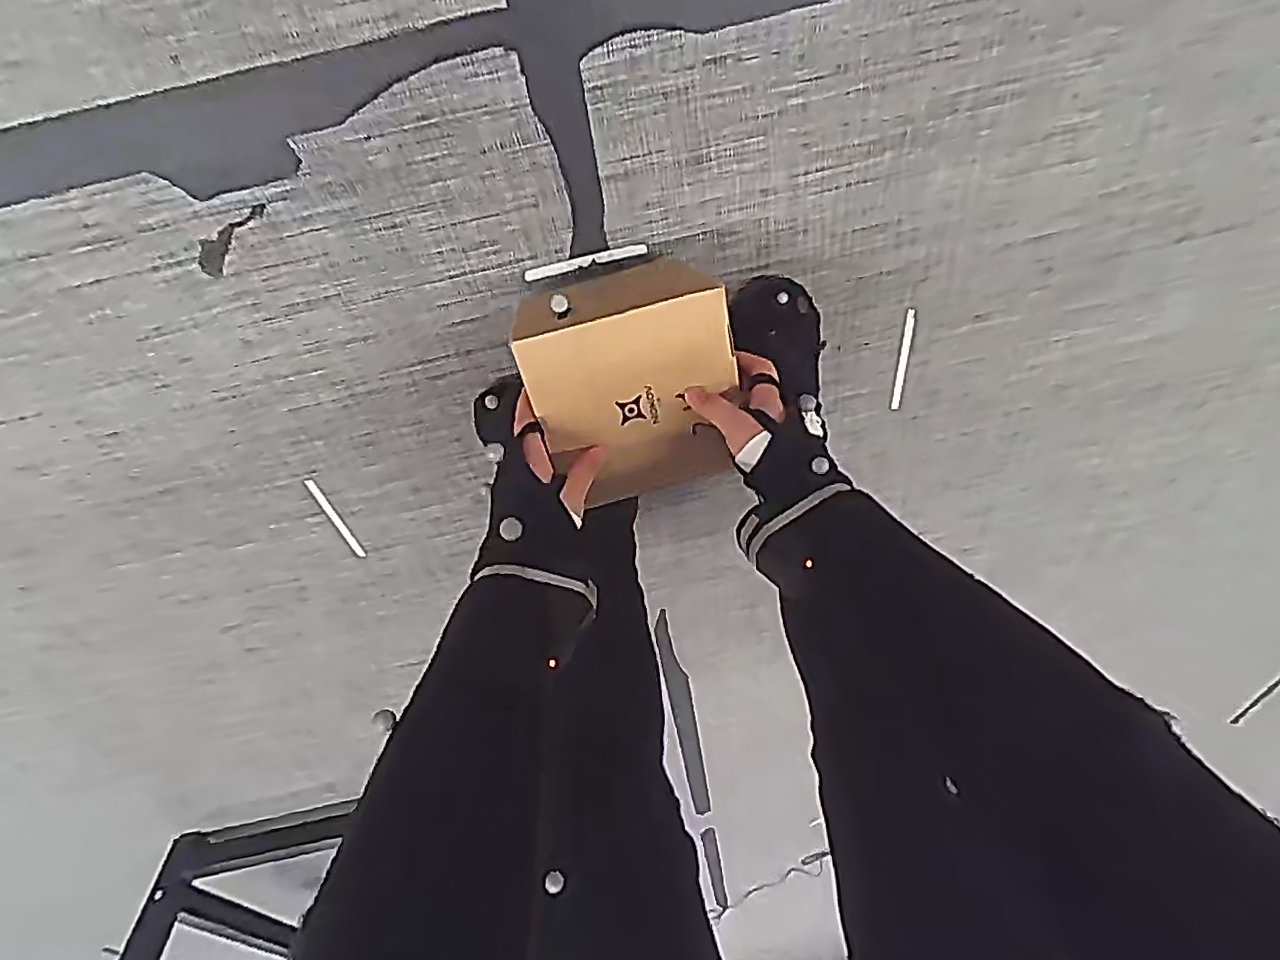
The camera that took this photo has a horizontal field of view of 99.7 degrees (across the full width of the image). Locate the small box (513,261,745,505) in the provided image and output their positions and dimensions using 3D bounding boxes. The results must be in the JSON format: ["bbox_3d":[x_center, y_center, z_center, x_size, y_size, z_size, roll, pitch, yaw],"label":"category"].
[{"bbox_3d":[-0.013,-0.104,0.532,0.179,0.176,0.168,-16,121,-3],"label":"small box"}]
